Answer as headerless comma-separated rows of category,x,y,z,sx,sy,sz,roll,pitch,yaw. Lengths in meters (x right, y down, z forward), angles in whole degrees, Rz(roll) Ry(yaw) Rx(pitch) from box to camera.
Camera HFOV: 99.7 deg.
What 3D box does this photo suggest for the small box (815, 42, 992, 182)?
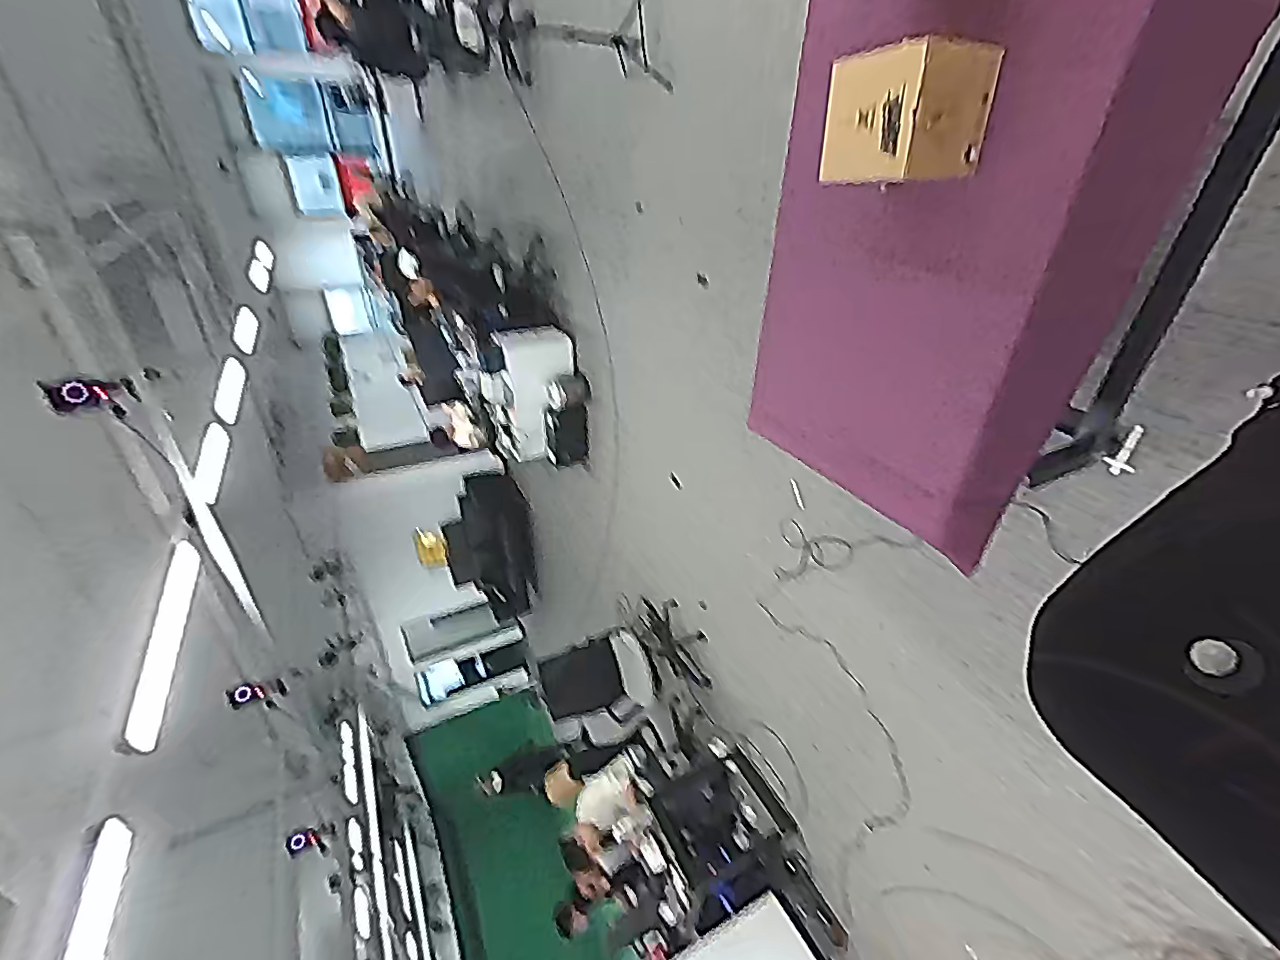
small box,0.411,-0.571,0.859,0.179,0.176,0.168,42,139,52
